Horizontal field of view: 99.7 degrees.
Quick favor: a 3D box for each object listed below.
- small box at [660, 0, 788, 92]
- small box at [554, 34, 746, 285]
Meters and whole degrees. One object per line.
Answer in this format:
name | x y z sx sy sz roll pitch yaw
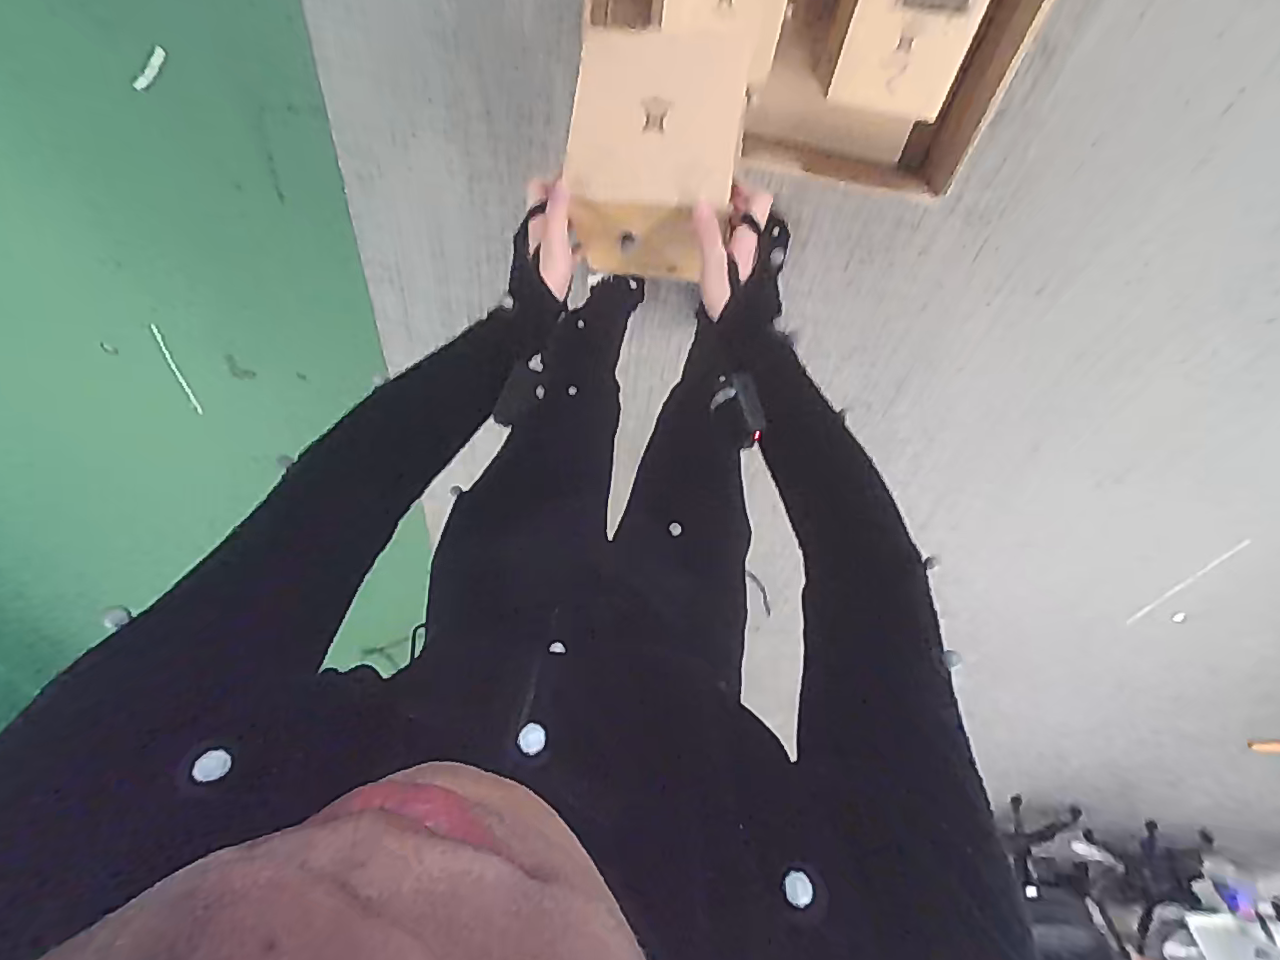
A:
small box | 0.122 -0.696 0.782 0.168 0.176 0.179 9 135 -2
small box | 0.019 -0.333 0.591 0.168 0.179 0.176 8 175 7
